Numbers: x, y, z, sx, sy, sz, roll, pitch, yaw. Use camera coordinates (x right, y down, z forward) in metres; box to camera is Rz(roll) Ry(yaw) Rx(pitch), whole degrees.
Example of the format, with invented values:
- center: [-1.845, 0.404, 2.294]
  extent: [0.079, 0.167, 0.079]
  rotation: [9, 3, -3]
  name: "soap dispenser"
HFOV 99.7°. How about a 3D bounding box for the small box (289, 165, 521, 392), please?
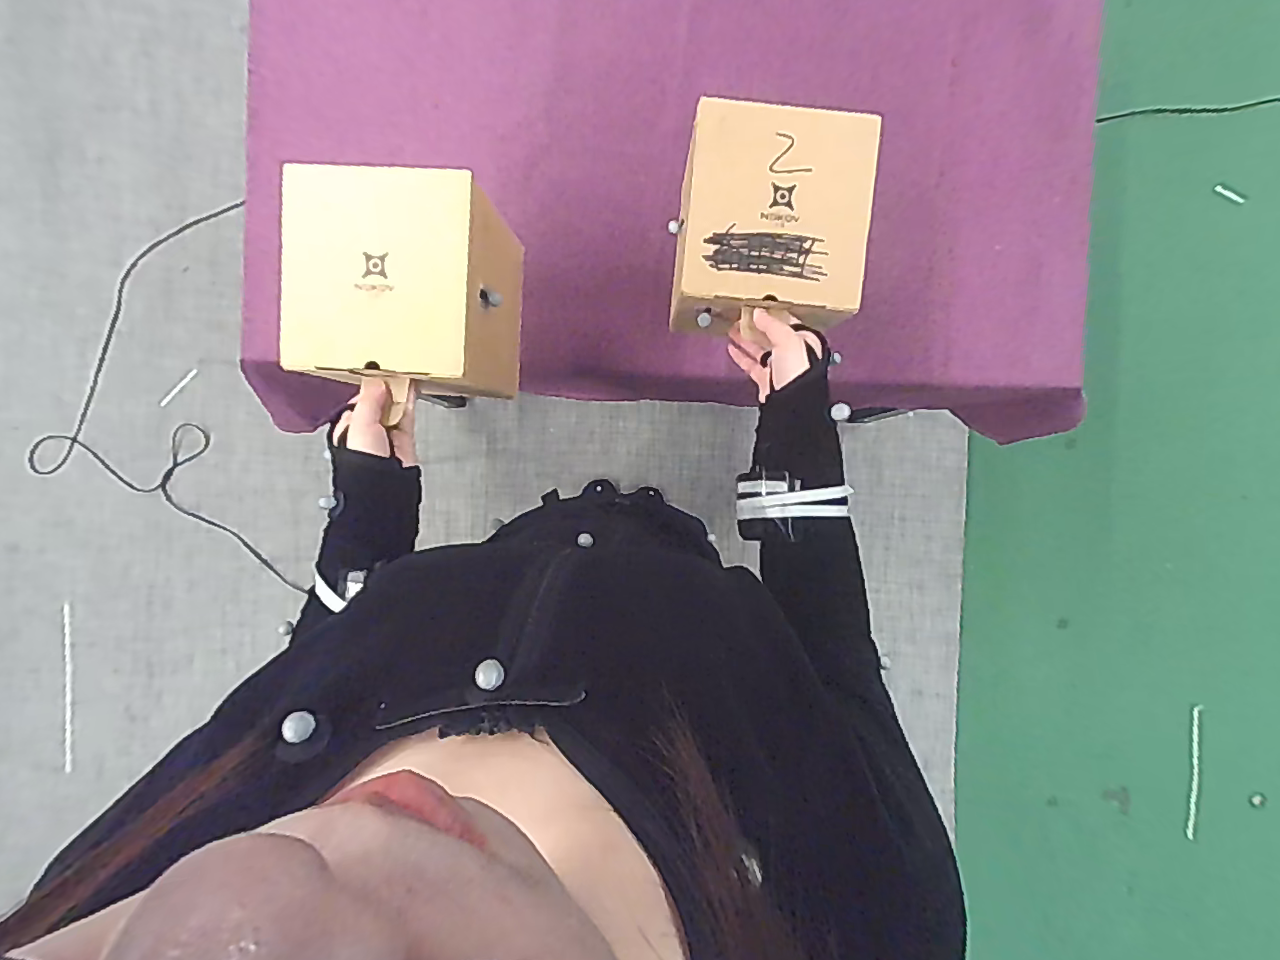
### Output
- center: [-0.225, -0.191, 0.558]
  extent: [0.168, 0.176, 0.179]
  rotation: [4, 94, 2]
  name: "small box"
